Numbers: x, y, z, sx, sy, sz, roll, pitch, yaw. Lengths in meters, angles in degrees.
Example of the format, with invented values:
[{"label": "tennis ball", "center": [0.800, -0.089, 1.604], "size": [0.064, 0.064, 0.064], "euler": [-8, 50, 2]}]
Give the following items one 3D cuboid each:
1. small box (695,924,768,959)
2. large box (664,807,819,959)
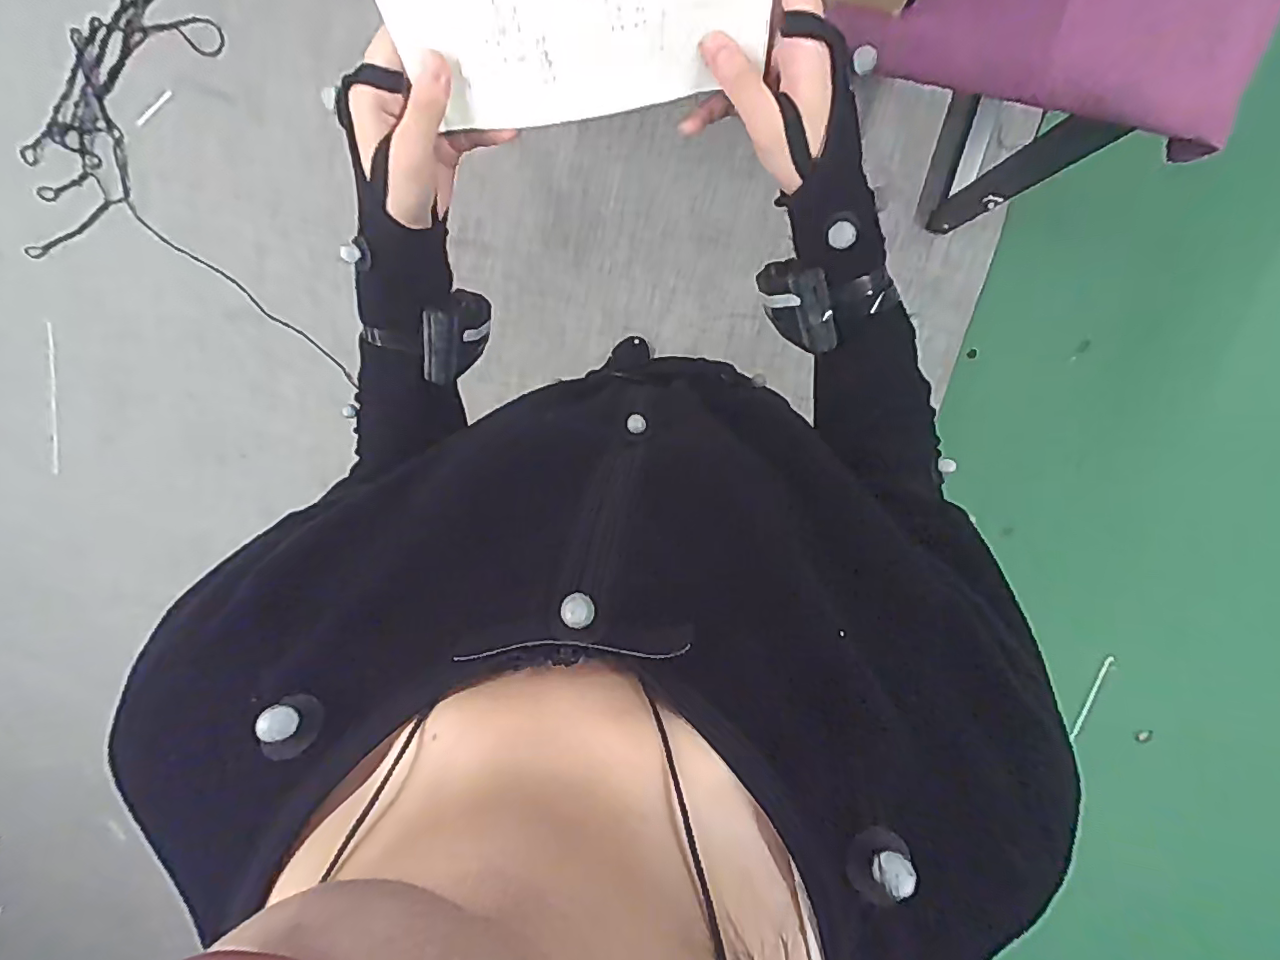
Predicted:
[{"label": "small box", "center": [0.228, 1.260, 1.349], "size": [0.179, 0.176, 0.168], "euler": [3, 100, 6]}, {"label": "large box", "center": [0.280, 1.211, 1.585], "size": [0.408, 0.320, 0.320], "euler": [0, 103, 5]}]
